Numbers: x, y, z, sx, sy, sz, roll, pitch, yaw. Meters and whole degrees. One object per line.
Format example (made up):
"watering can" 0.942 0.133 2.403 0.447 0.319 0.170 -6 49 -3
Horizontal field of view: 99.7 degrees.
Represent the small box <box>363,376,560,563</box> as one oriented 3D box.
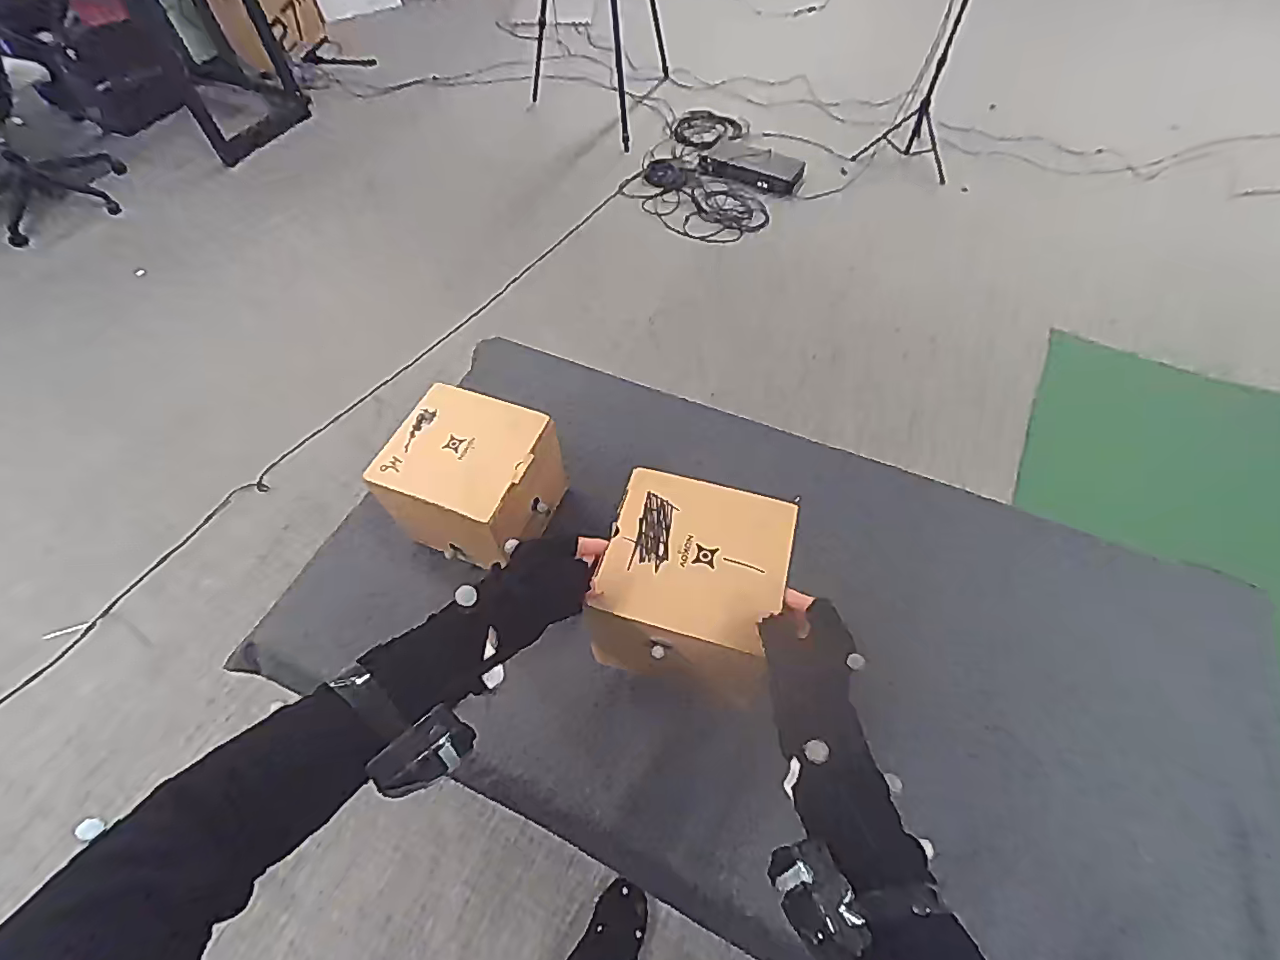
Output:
"small box" -0.222 -0.006 0.733 0.179 0.176 0.168 19 60 11
